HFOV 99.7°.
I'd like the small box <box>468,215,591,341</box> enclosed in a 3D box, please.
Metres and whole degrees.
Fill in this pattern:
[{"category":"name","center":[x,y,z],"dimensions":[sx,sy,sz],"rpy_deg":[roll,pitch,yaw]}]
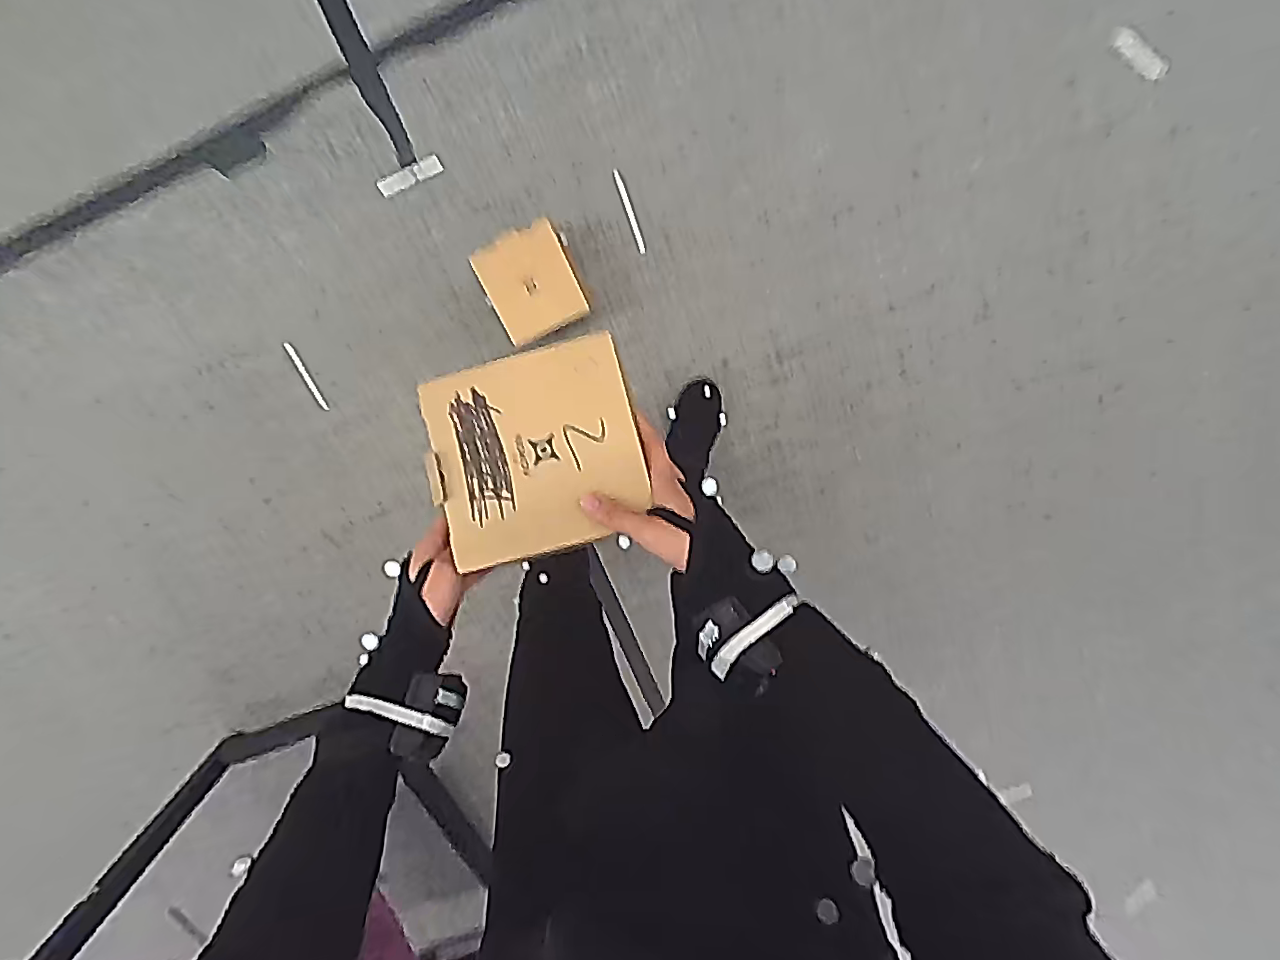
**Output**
[{"category":"small box","center":[-0.206,-0.398,1.070],"dimensions":[0.168,0.176,0.179],"rpy_deg":[-24,110,8]}]
